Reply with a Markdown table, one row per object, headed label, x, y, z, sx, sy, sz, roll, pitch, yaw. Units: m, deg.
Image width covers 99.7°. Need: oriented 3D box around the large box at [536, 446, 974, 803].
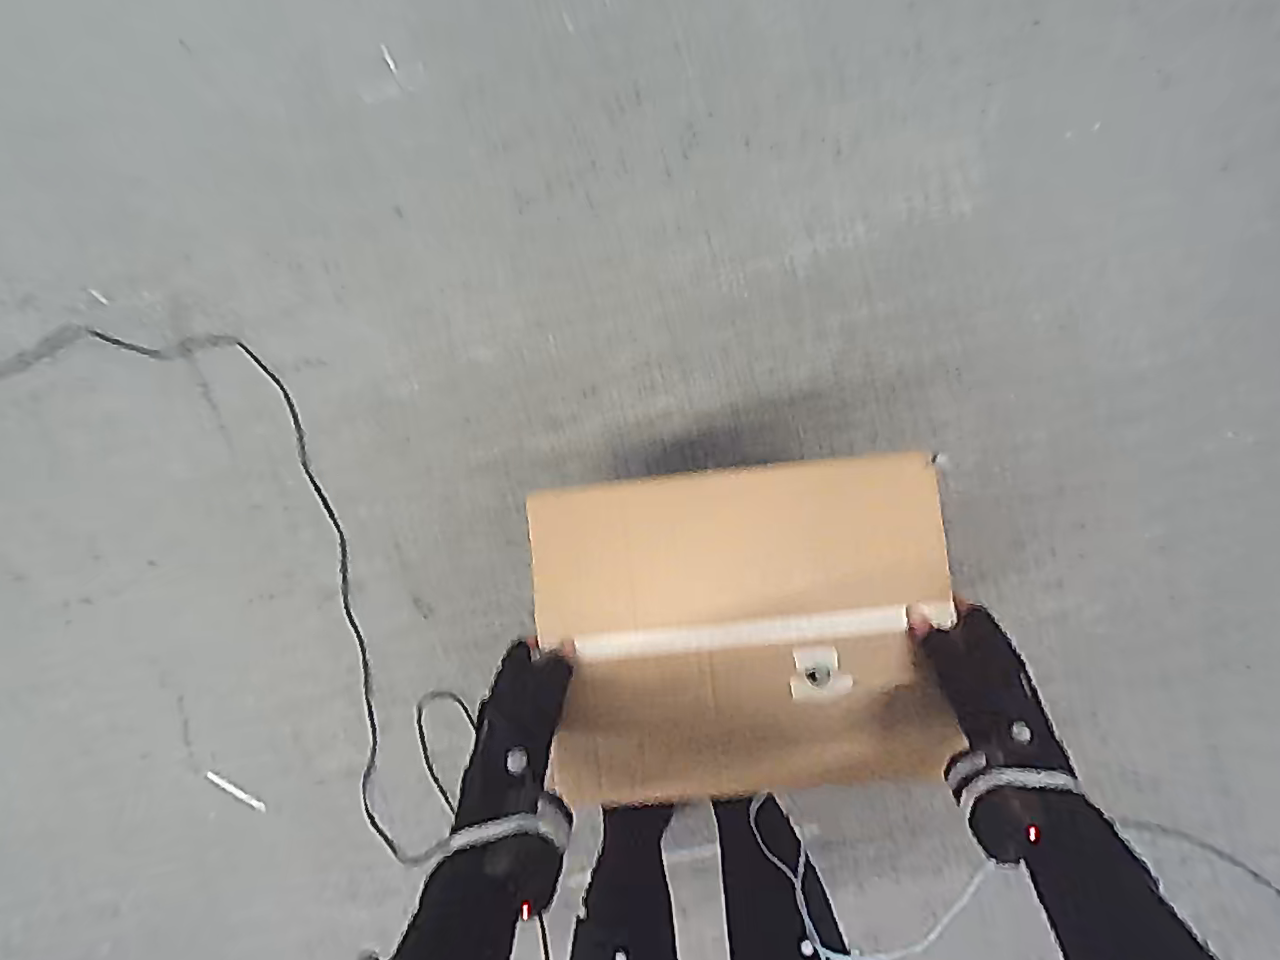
| label | x | y | z | sx | sy | sz | roll | pitch | yaw |
| --- | --- | --- | --- | --- | --- | --- | --- | --- | --- |
| large box | 0.114 | 0.153 | 0.685 | 0.408 | 0.320 | 0.320 | -7 | 87 | 3 |
